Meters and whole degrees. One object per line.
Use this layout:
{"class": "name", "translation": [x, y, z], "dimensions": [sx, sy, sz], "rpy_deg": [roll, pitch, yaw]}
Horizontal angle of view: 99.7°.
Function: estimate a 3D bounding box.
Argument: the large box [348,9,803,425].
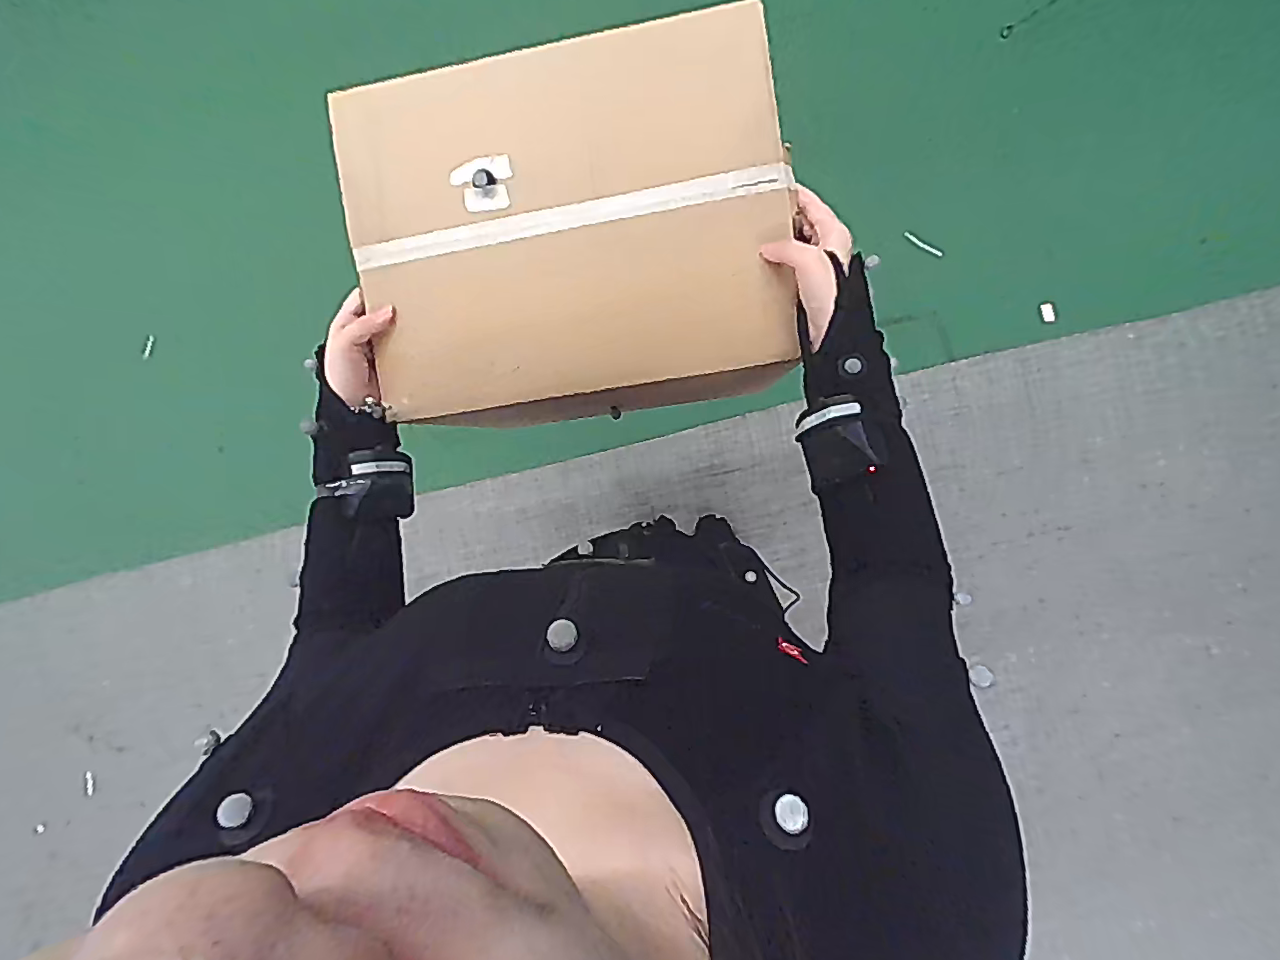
{"class": "large box", "translation": [-0.049, -0.249, 0.657], "dimensions": [0.408, 0.320, 0.320], "rpy_deg": [-8, 93, 7]}
